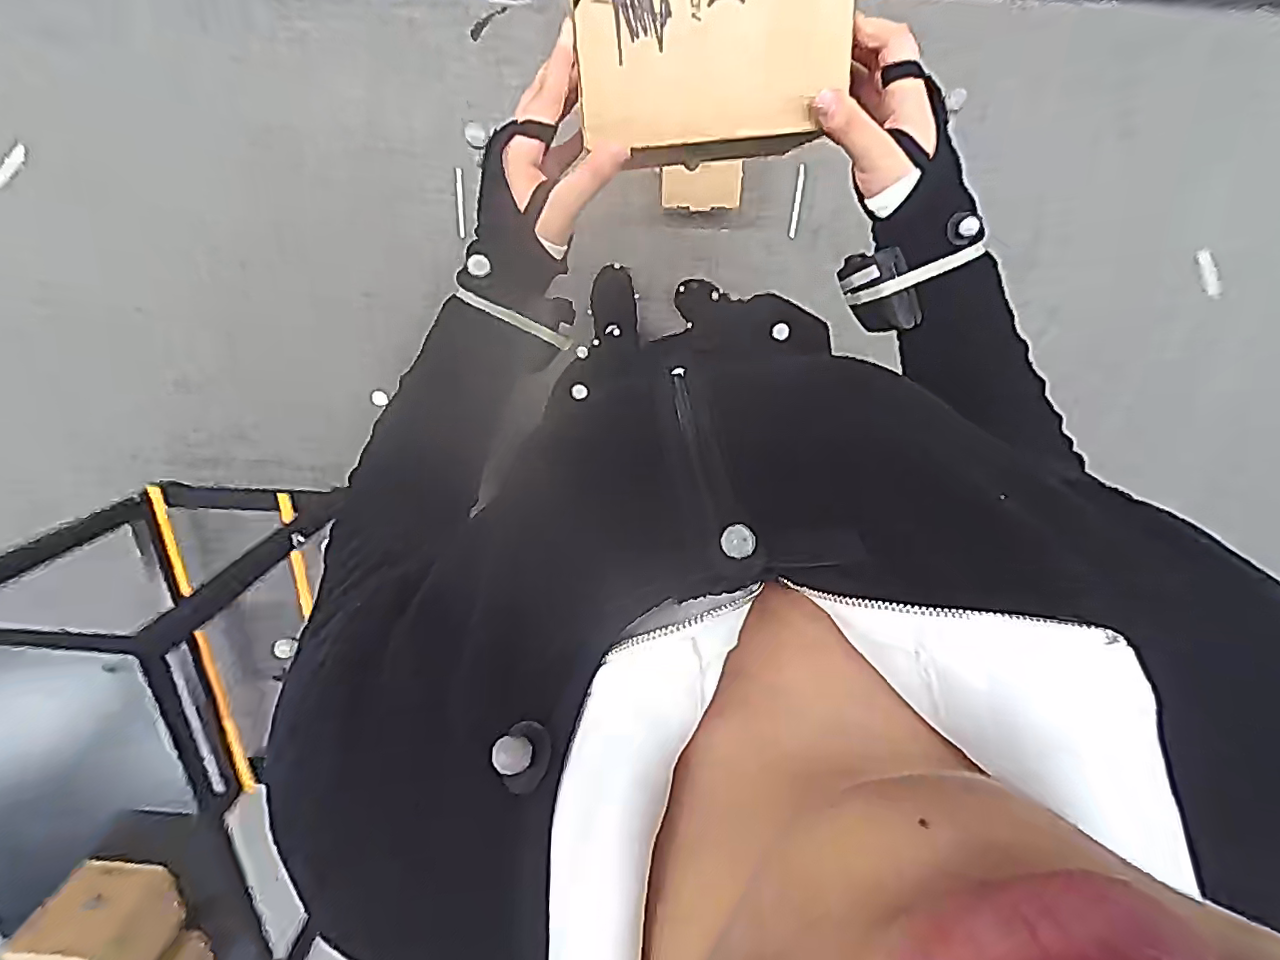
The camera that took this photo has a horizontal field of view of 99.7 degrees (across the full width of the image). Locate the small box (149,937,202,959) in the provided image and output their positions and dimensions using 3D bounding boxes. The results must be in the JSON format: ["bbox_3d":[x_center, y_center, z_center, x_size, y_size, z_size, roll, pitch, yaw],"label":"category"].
[{"bbox_3d":[-1.094,1.121,1.165,0.179,0.176,0.168,3,114,0],"label":"small box"}]

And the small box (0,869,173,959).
[{"bbox_3d":[-1.096,0.918,1.080,0.168,0.176,0.179,5,112,1],"label":"small box"}]

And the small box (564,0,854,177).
[{"bbox_3d":[0.040,-0.326,0.392,0.179,0.176,0.168,-6,115,1],"label":"small box"}]

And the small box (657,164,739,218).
[{"bbox_3d":[0.124,-0.674,1.180,0.168,0.176,0.179,2,113,1],"label":"small box"}]
